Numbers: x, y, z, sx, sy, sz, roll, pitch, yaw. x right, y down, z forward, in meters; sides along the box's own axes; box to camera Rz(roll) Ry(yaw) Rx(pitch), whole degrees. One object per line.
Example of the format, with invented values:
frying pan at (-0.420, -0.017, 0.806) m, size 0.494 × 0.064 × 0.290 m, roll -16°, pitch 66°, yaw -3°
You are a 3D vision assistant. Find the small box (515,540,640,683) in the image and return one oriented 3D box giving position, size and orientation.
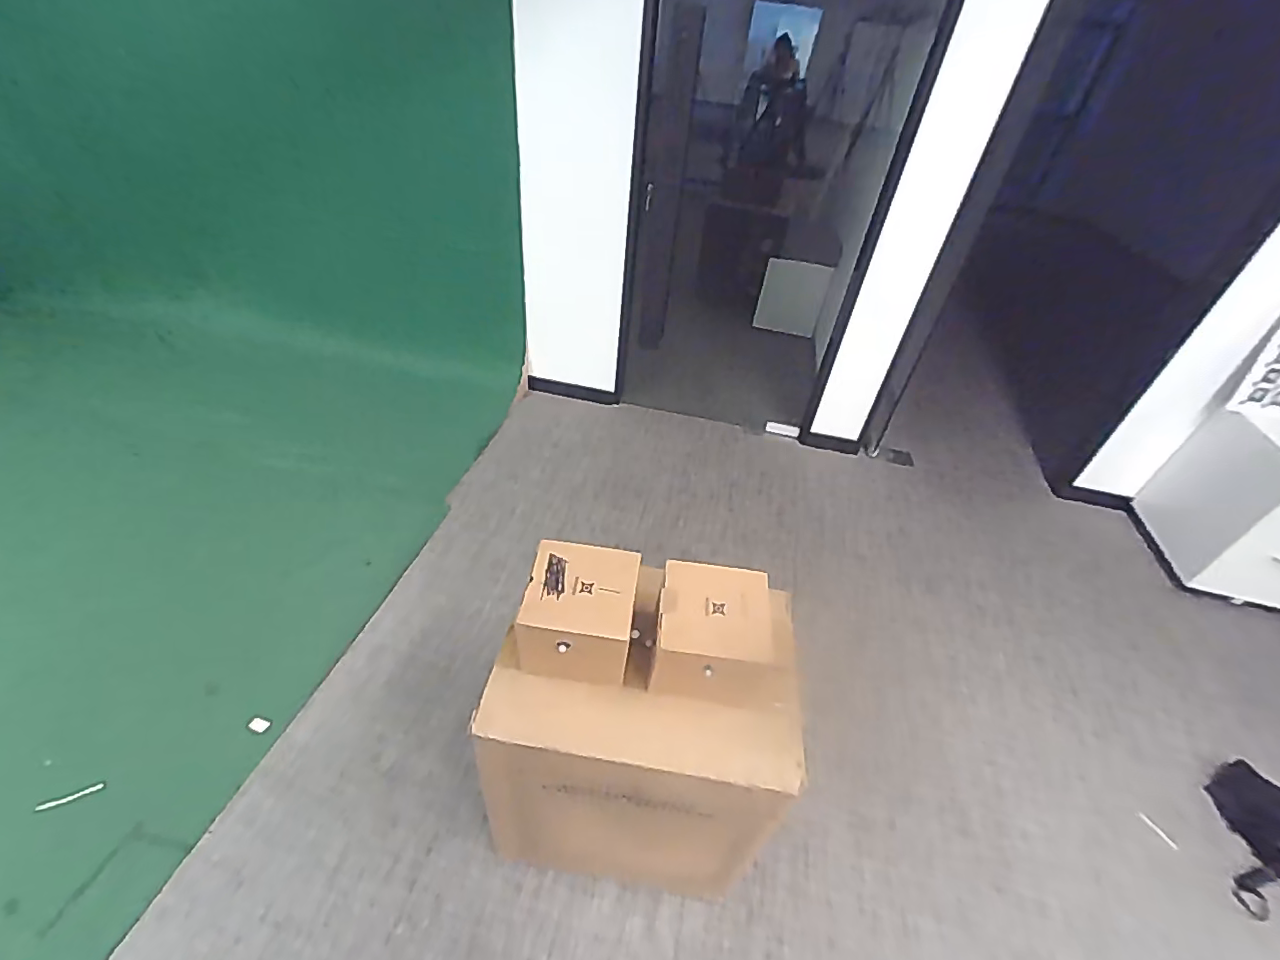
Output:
small box at (-0.102, 0.228, 0.925) m, size 0.179 × 0.176 × 0.168 m, roll 9°, pitch 46°, yaw 1°

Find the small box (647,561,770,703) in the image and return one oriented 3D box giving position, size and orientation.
small box at (0.110, 0.261, 0.922) m, size 0.179 × 0.176 × 0.168 m, roll 8°, pitch 46°, yaw -1°
